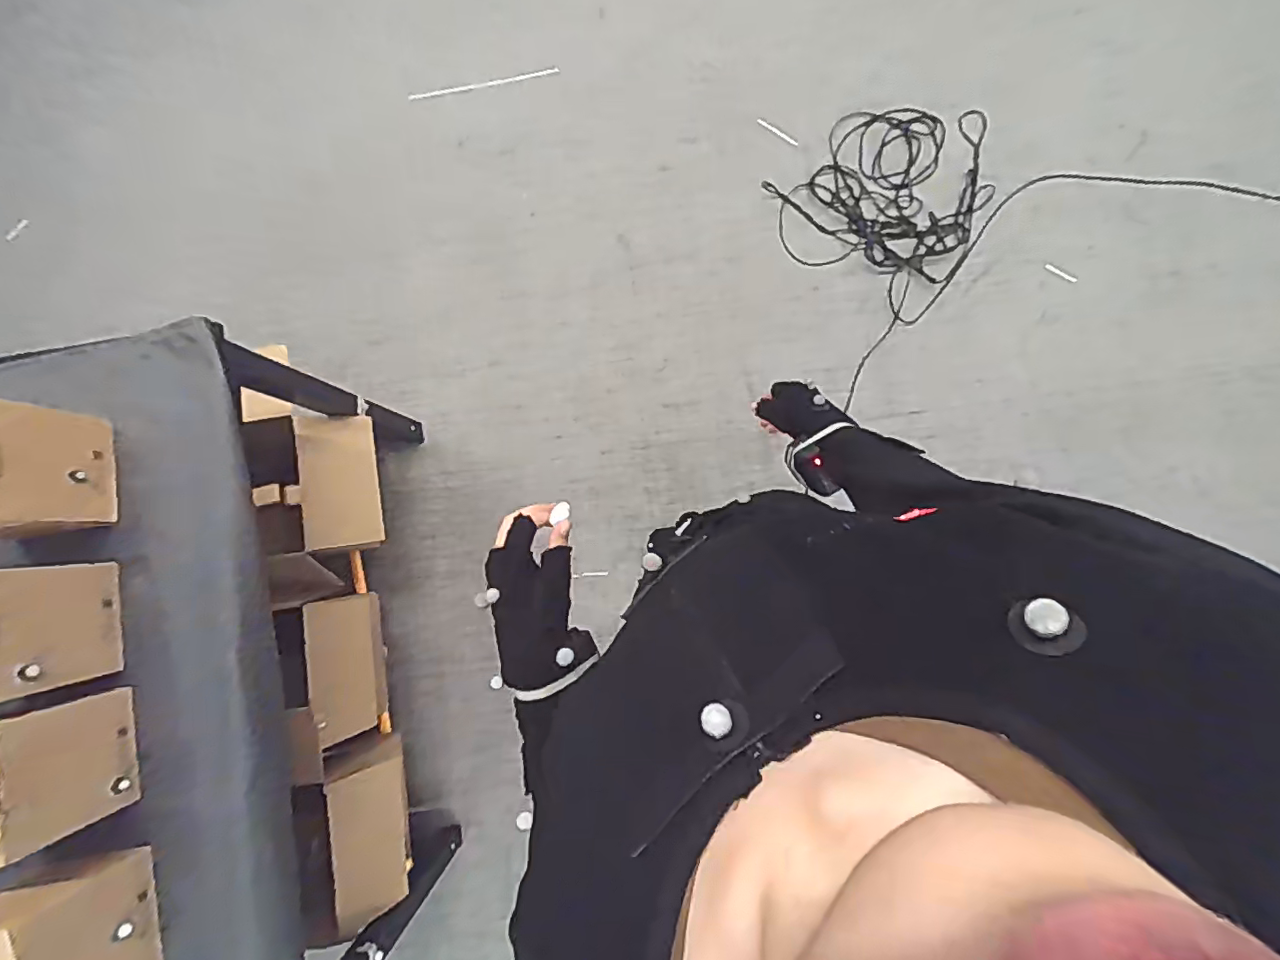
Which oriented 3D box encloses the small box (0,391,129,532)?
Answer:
[{"bbox_3d":[-0.900,-0.017,0.778,0.179,0.176,0.168,-10,85,3],"label":"small box"}]
